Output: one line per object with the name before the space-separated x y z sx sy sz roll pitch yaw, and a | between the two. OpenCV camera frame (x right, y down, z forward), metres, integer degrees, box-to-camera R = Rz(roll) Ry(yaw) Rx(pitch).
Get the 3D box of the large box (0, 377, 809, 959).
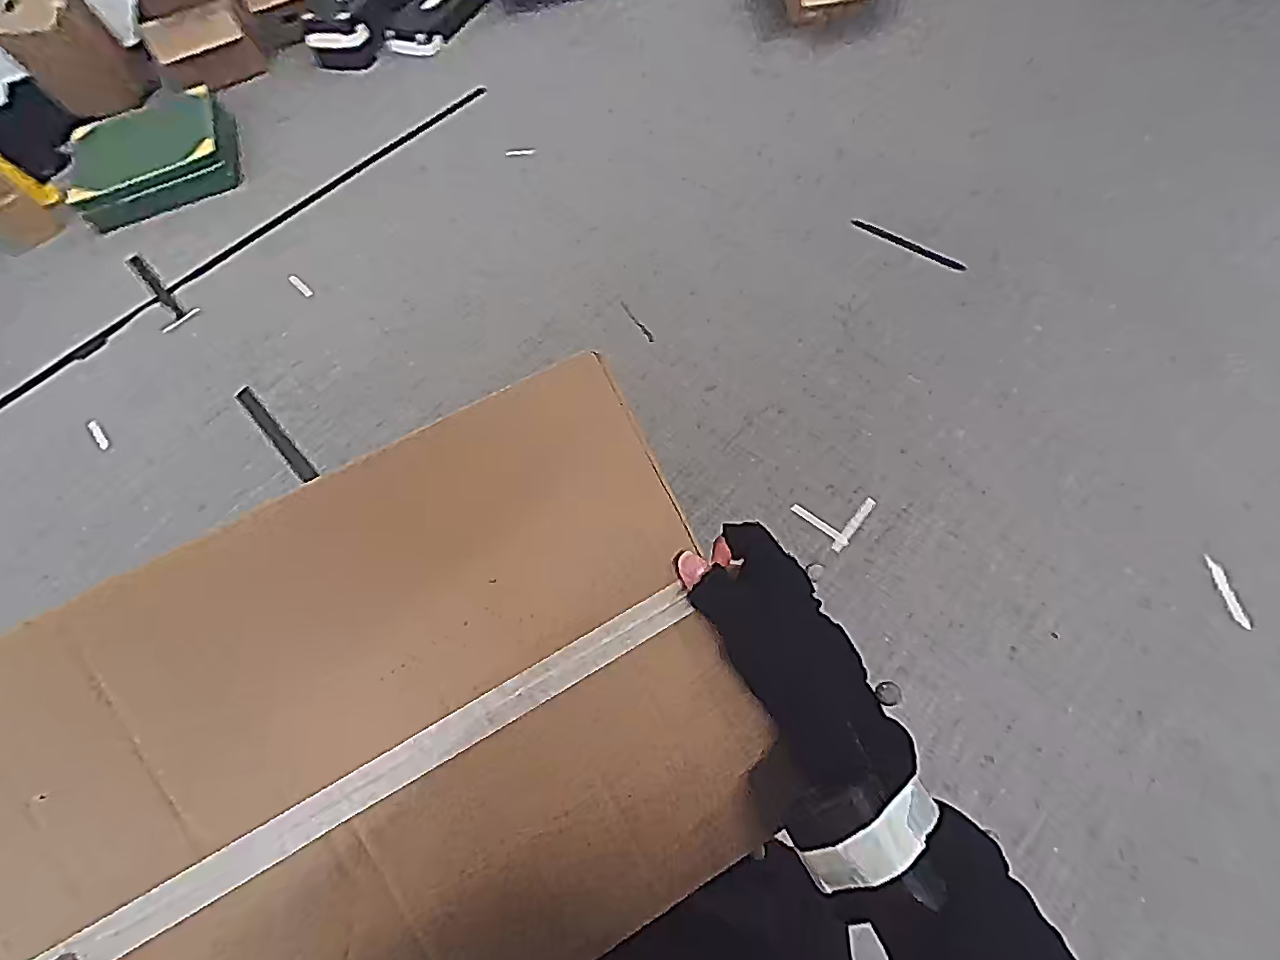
large box | -0.152 0.162 0.457 0.408 0.320 0.320 -28 93 -9
